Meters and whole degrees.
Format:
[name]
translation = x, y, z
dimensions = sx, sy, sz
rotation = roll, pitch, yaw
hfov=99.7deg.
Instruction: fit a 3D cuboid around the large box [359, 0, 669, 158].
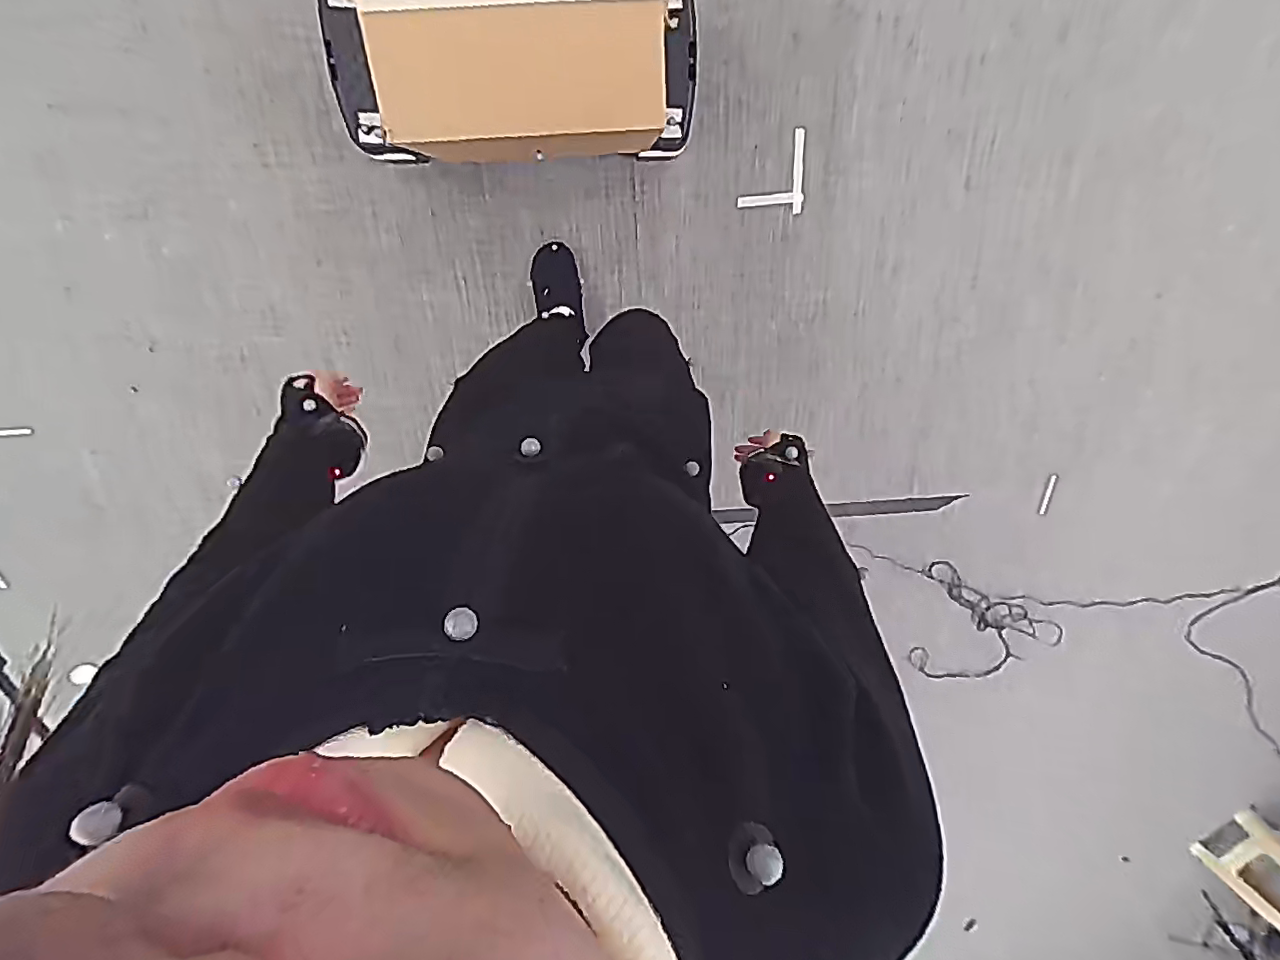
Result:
[large box]
translation = -0.174, -0.698, 0.836
dimensions = 0.408, 0.320, 0.320
rotation = -5, 116, -2
